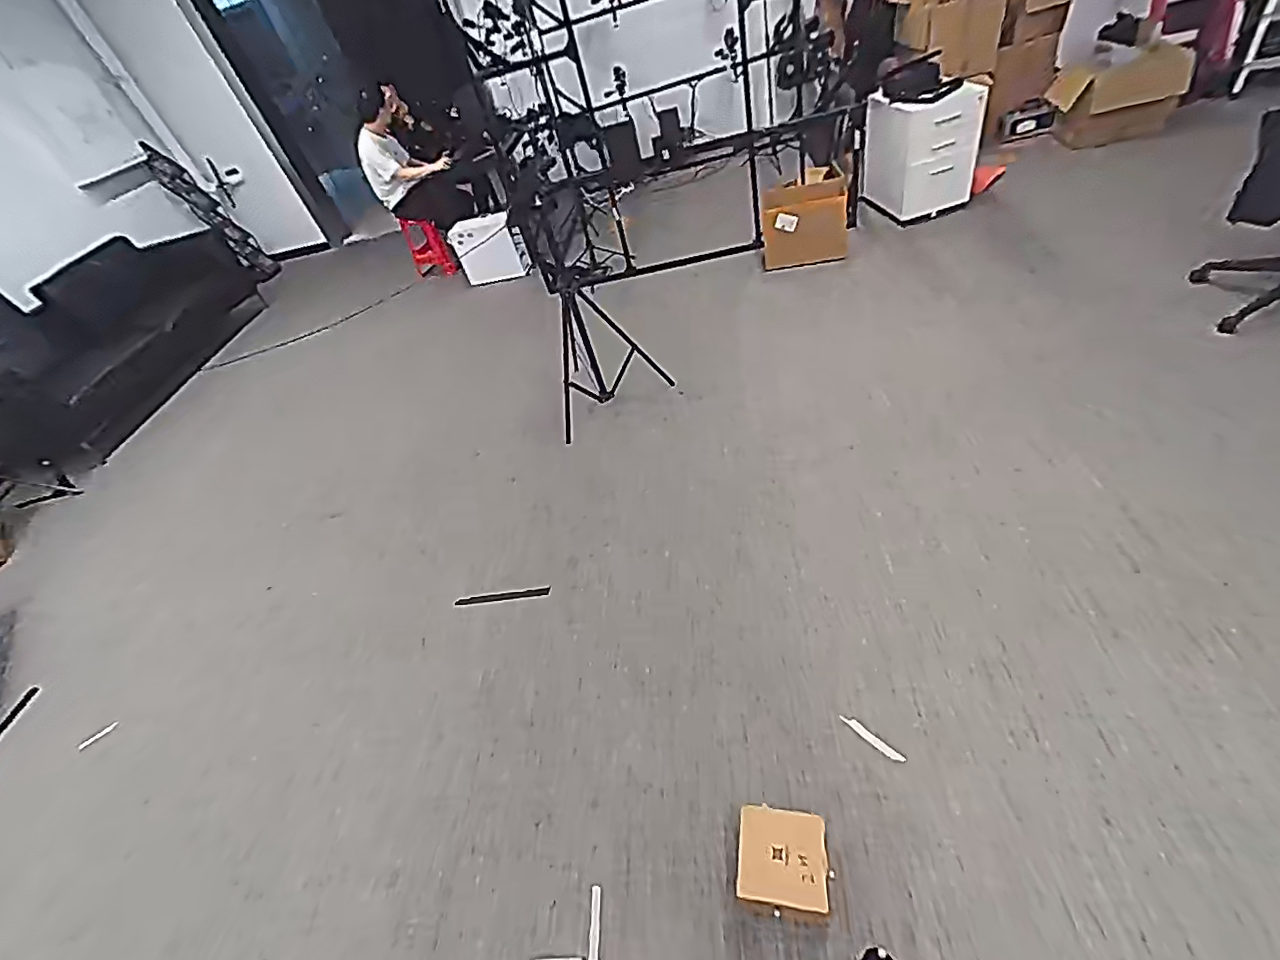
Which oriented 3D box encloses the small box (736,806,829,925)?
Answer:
[{"bbox_3d":[0.308,0.821,1.149,0.179,0.176,0.168,-1,46,17],"label":"small box"}]
